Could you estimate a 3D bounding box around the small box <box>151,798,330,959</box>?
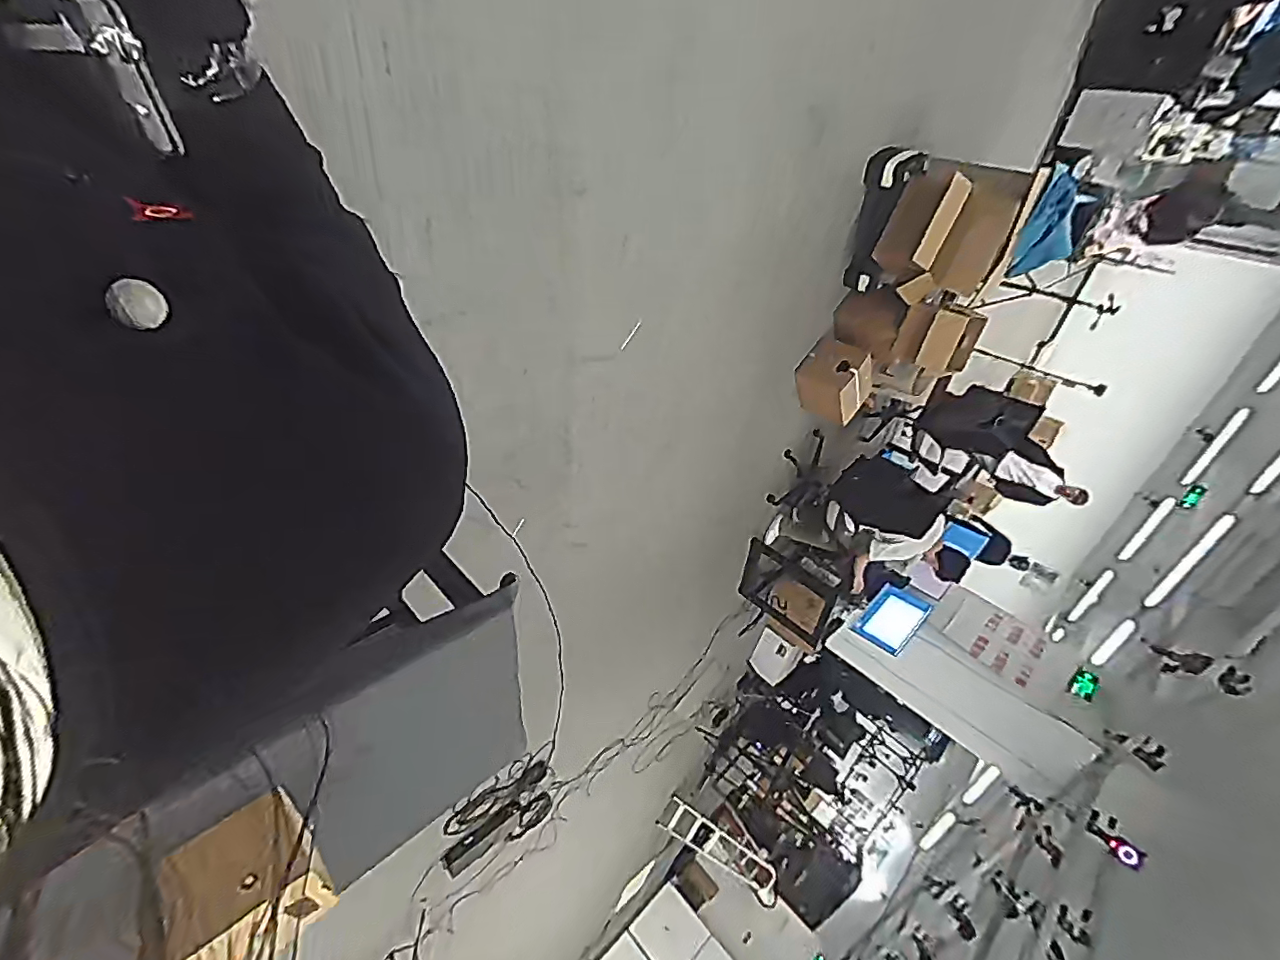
[{"bbox_3d":[-0.643,0.667,0.878,0.179,0.176,0.168,-26,137,-36],"label":"small box"}]
